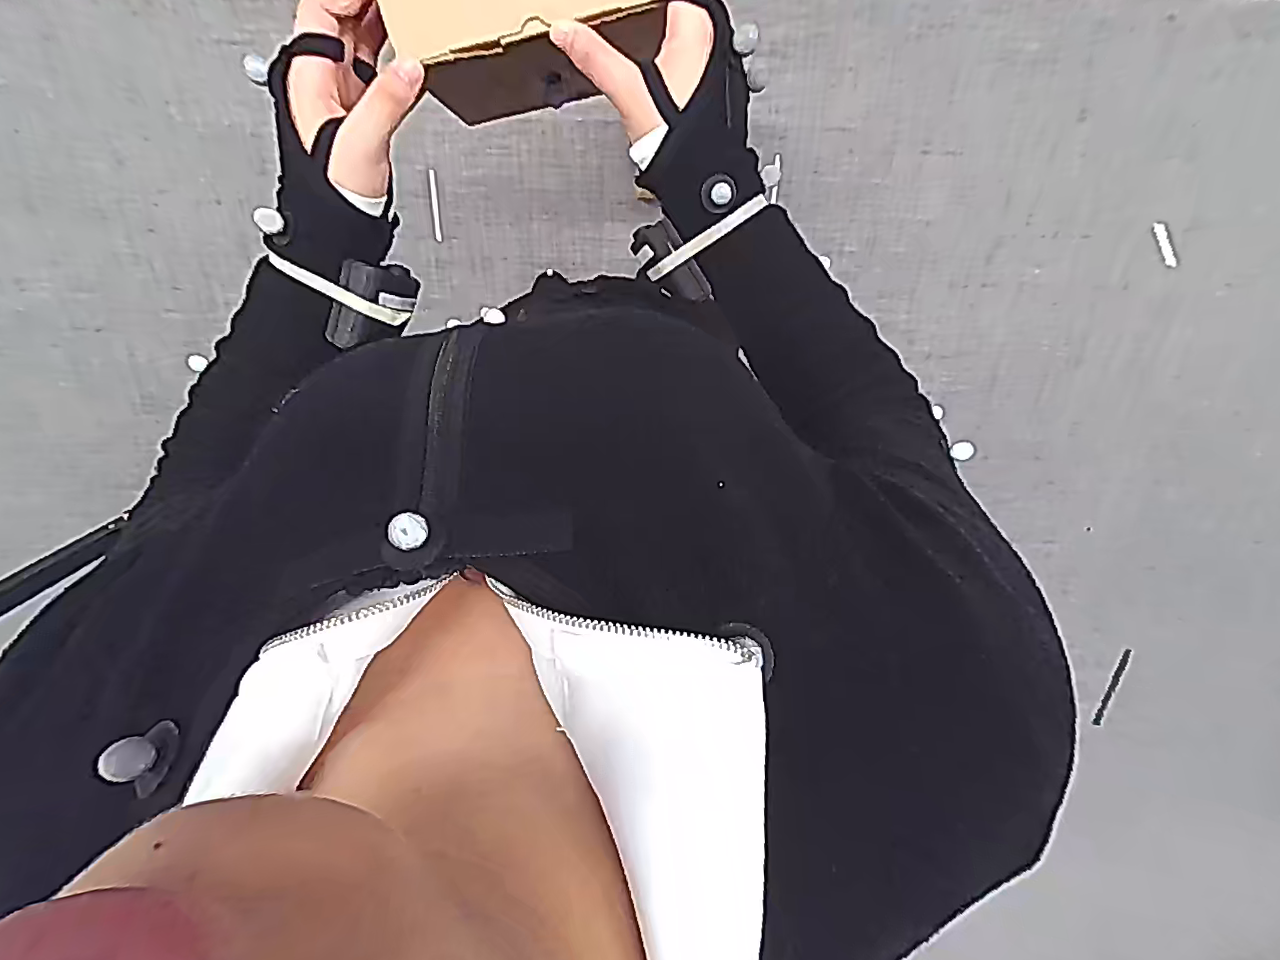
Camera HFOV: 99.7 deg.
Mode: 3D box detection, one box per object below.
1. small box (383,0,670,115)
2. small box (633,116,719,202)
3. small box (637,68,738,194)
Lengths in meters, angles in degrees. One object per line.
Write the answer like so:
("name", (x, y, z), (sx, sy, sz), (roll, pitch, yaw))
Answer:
("small box", (-0.079, -0.364, 0.358), (0.168, 0.176, 0.179), (-12, 115, 2))
("small box", (0.078, -0.708, 1.184), (0.179, 0.176, 0.168), (-1, 114, -3))
("small box", (0.081, -0.653, 1.030), (0.168, 0.176, 0.179), (1, 115, -3))
